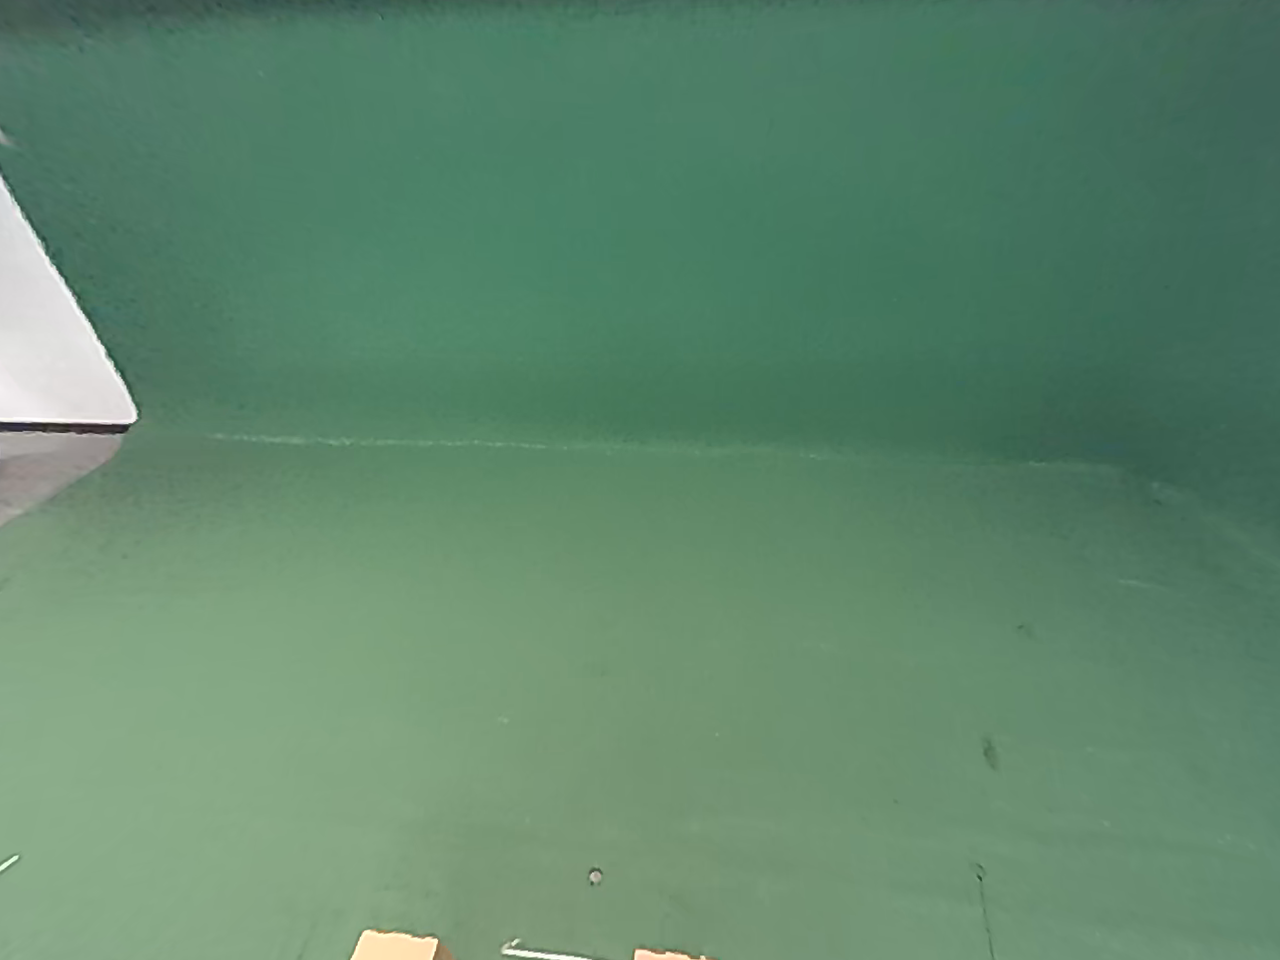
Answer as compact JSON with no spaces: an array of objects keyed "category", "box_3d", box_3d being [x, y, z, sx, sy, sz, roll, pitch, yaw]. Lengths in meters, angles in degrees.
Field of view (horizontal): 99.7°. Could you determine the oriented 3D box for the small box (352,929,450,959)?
[{"category":"small box","box_3d":[-0.485,1.033,1.068,0.168,0.176,0.179,1,33,6]}]
